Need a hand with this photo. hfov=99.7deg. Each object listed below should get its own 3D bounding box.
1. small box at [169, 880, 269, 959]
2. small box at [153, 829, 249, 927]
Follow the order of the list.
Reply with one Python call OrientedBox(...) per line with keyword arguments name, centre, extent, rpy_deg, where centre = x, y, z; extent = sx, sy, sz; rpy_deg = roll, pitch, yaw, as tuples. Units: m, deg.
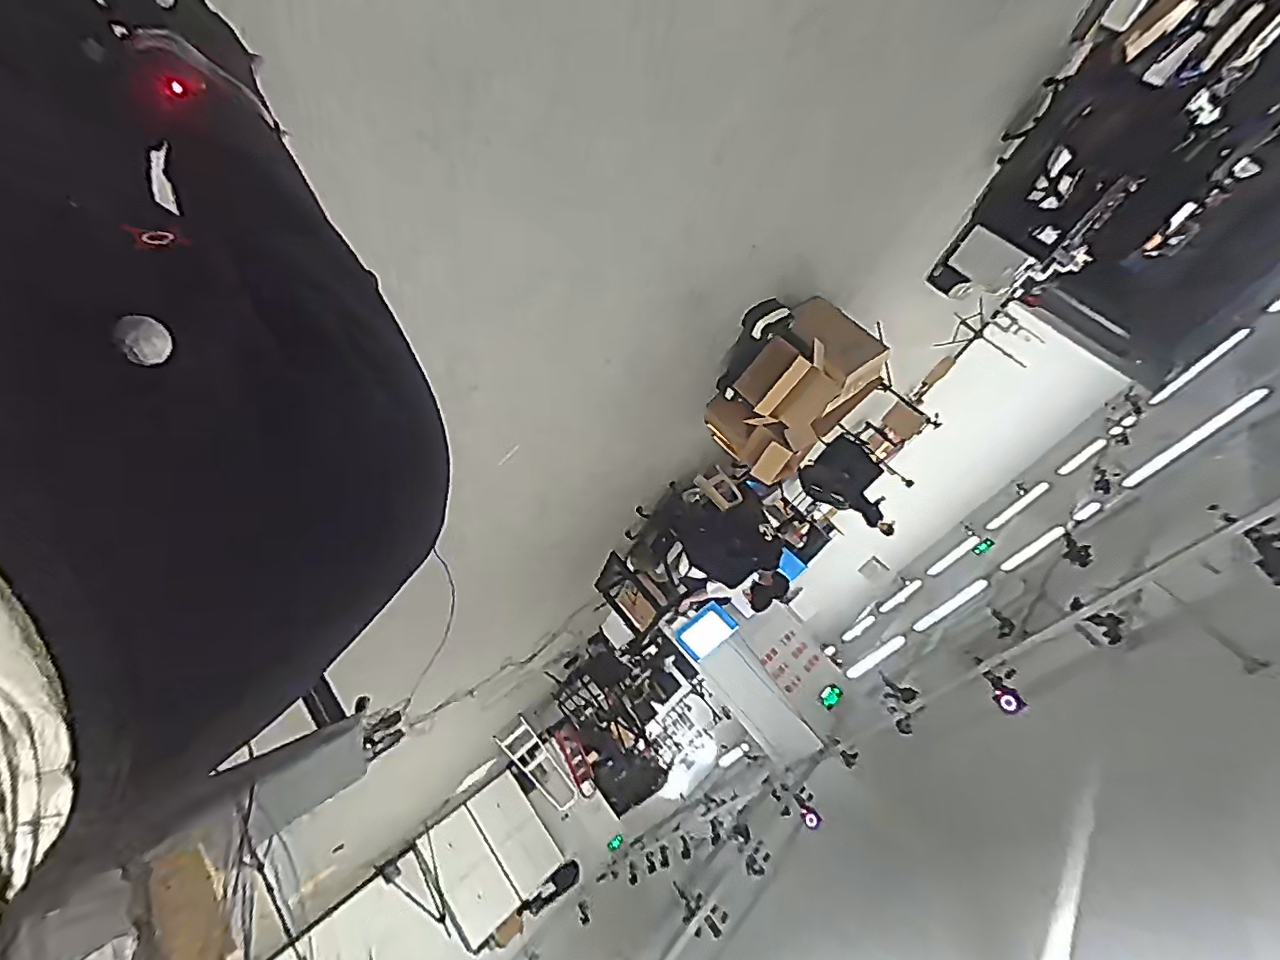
OrientedBox(name="small box", centre=(-1.177, 1.275, 1.513), extent=(0.179, 0.176, 0.168), rpy_deg=(-25, 154, -40))
OrientedBox(name="small box", centre=(-1.278, 1.162, 1.577), extent=(0.168, 0.176, 0.179), rpy_deg=(-24, 152, -40))
